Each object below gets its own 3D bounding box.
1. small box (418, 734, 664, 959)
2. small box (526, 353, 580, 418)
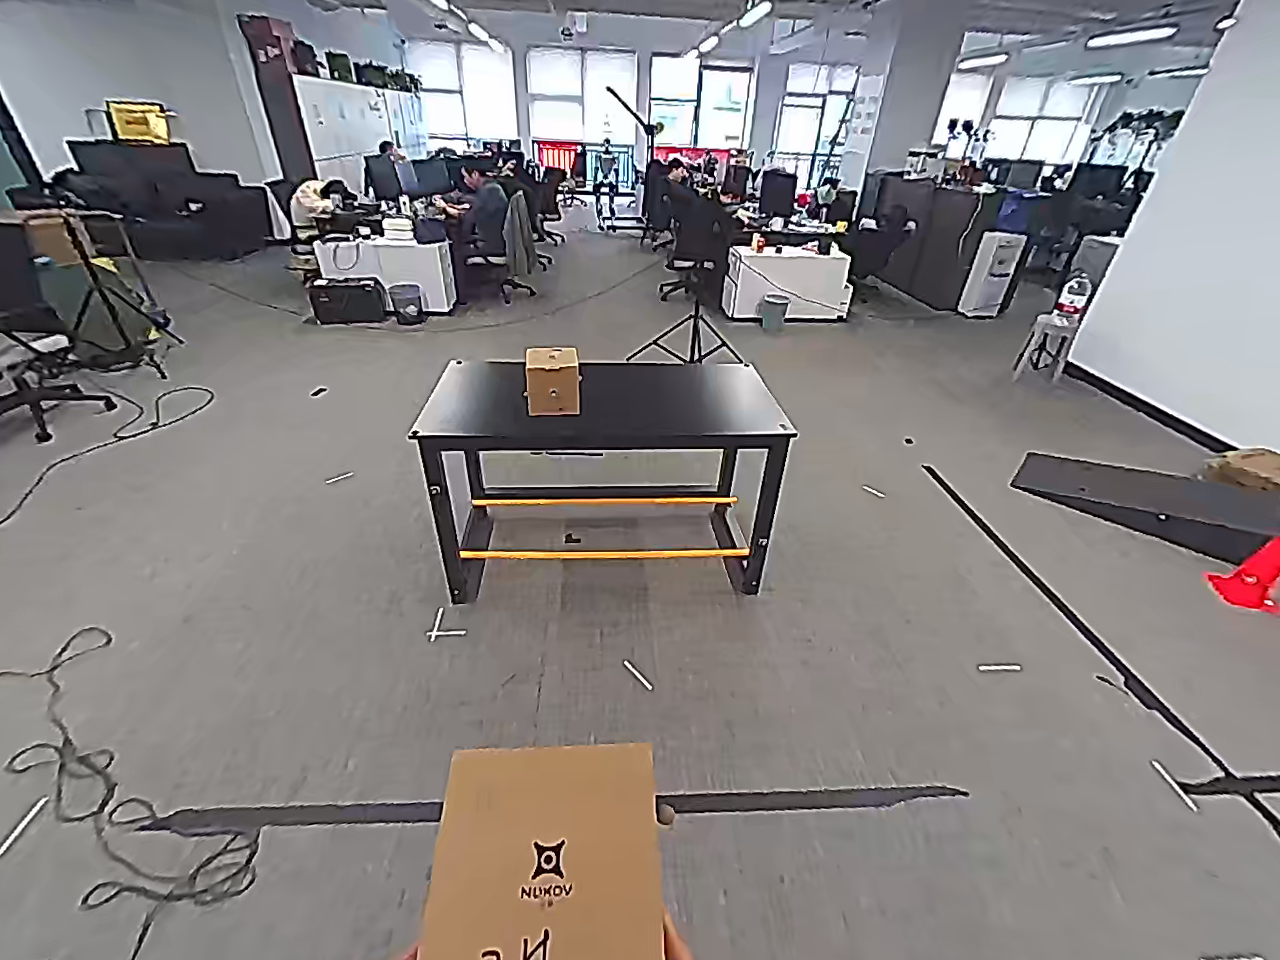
[{"bbox_3d":[-0.070,0.336,0.454,0.168,0.176,0.179,-2,46,-3],"label":"small box"},{"bbox_3d":[-0.291,-0.314,1.813,0.168,0.176,0.179,-4,34,-8],"label":"small box"}]
